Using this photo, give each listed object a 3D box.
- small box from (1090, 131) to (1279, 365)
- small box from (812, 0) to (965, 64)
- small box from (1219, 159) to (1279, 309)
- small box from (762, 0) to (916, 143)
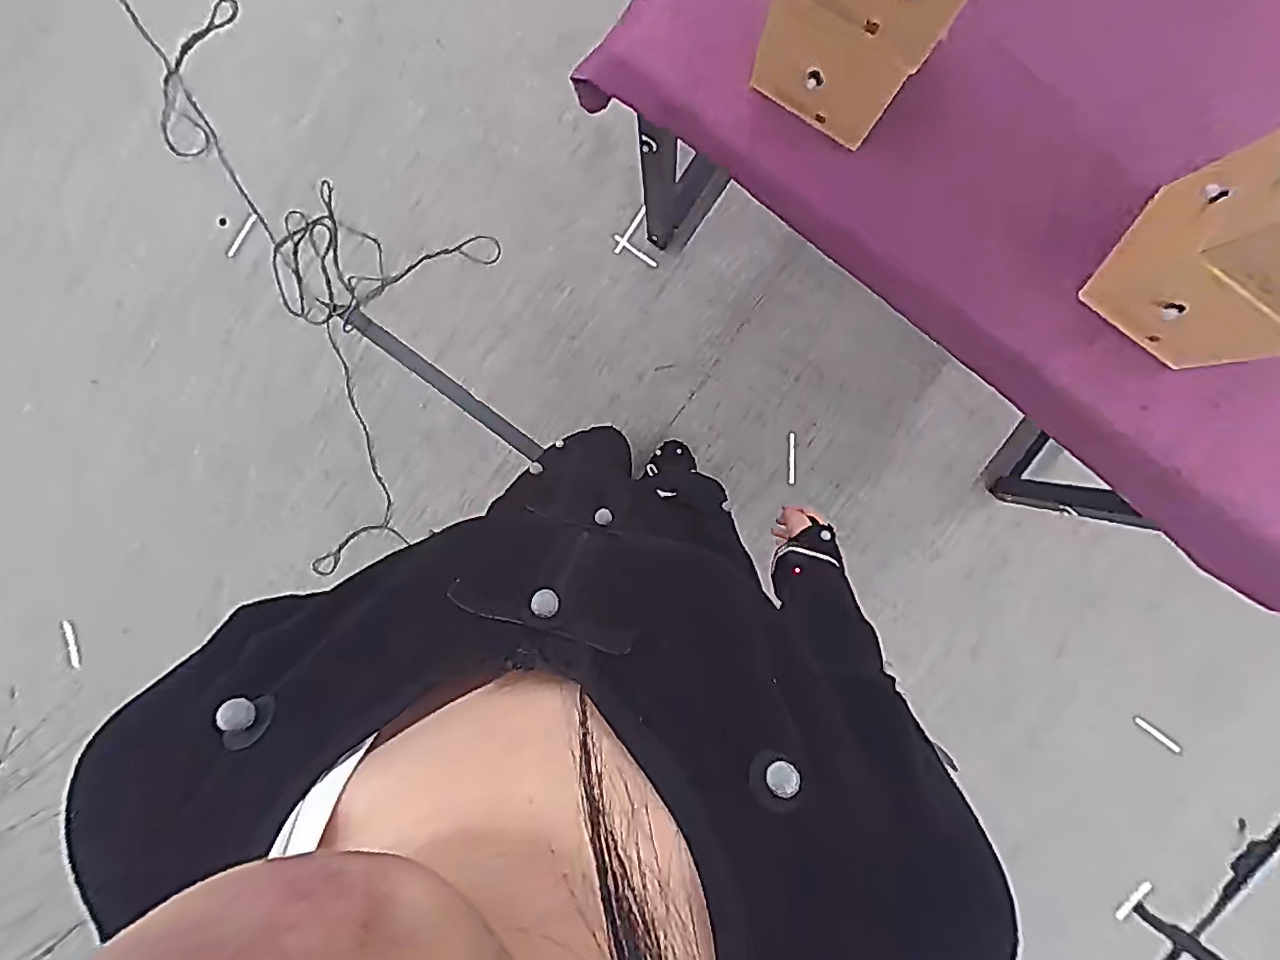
[{"bbox_3d":[0.692,-0.256,0.636,0.168,0.176,0.179,37,95,-1],"label":"small box"},{"bbox_3d":[0.251,-0.521,0.464,0.168,0.176,0.179,30,94,-2],"label":"small box"},{"bbox_3d":[0.689,-0.246,0.472,0.168,0.176,0.179,37,95,-1],"label":"small box"},{"bbox_3d":[0.259,-0.542,0.625,0.168,0.176,0.179,32,94,-1],"label":"small box"}]
